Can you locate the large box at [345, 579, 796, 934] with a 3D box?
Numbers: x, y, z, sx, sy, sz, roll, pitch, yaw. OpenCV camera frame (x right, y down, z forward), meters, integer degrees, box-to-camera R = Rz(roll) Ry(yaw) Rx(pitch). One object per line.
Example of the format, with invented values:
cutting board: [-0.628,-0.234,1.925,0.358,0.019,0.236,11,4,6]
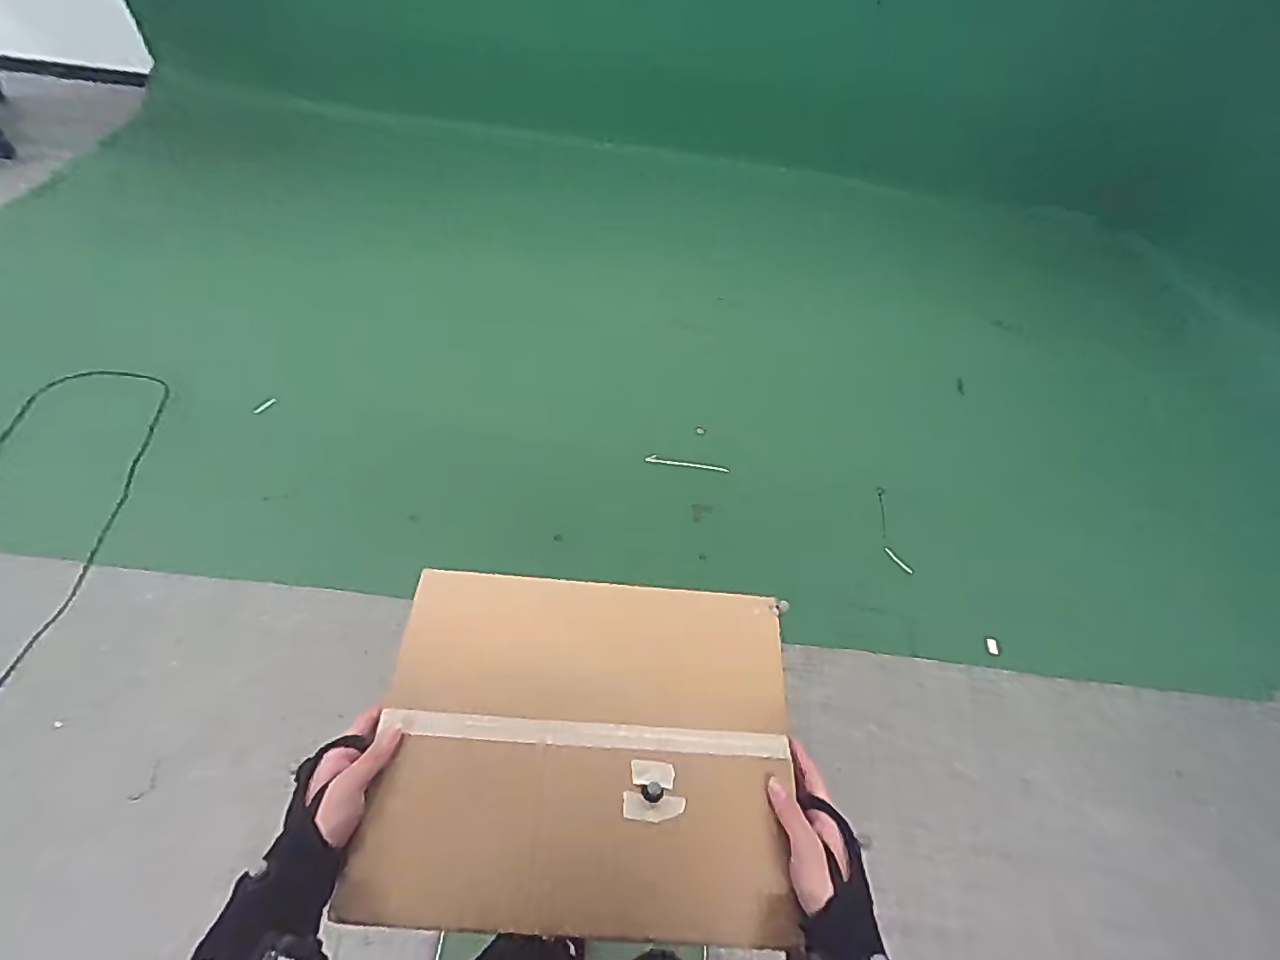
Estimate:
large box: [-0.065,0.334,0.674,0.408,0.320,0.320,5,59,-2]
